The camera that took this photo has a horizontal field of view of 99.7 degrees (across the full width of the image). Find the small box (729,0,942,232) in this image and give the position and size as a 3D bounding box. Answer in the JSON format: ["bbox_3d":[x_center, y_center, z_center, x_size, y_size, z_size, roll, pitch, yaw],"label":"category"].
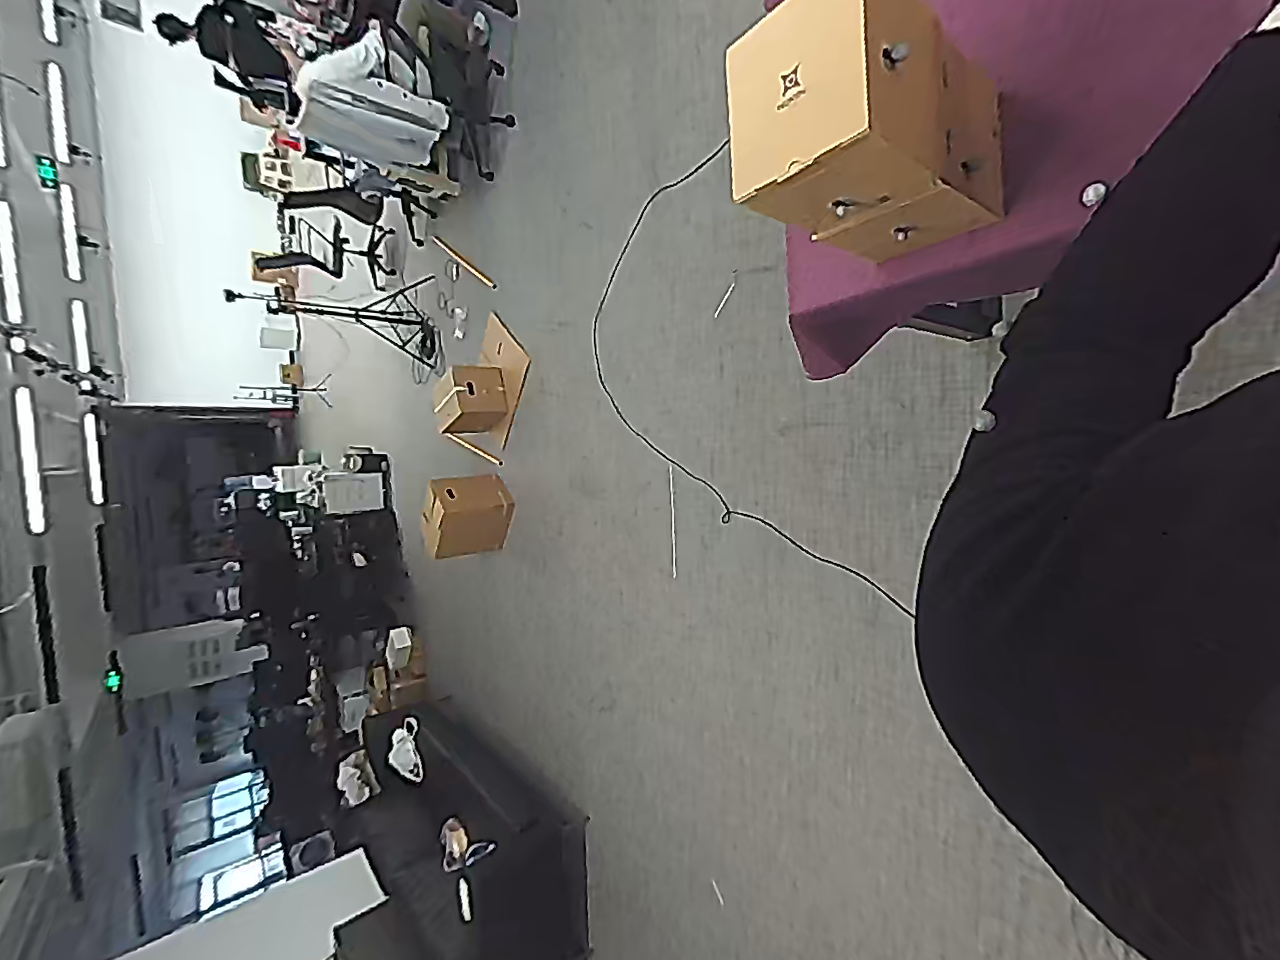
[{"bbox_3d":[0.219,-0.408,0.607,0.168,0.176,0.179,-1,93,51],"label":"small box"}]
